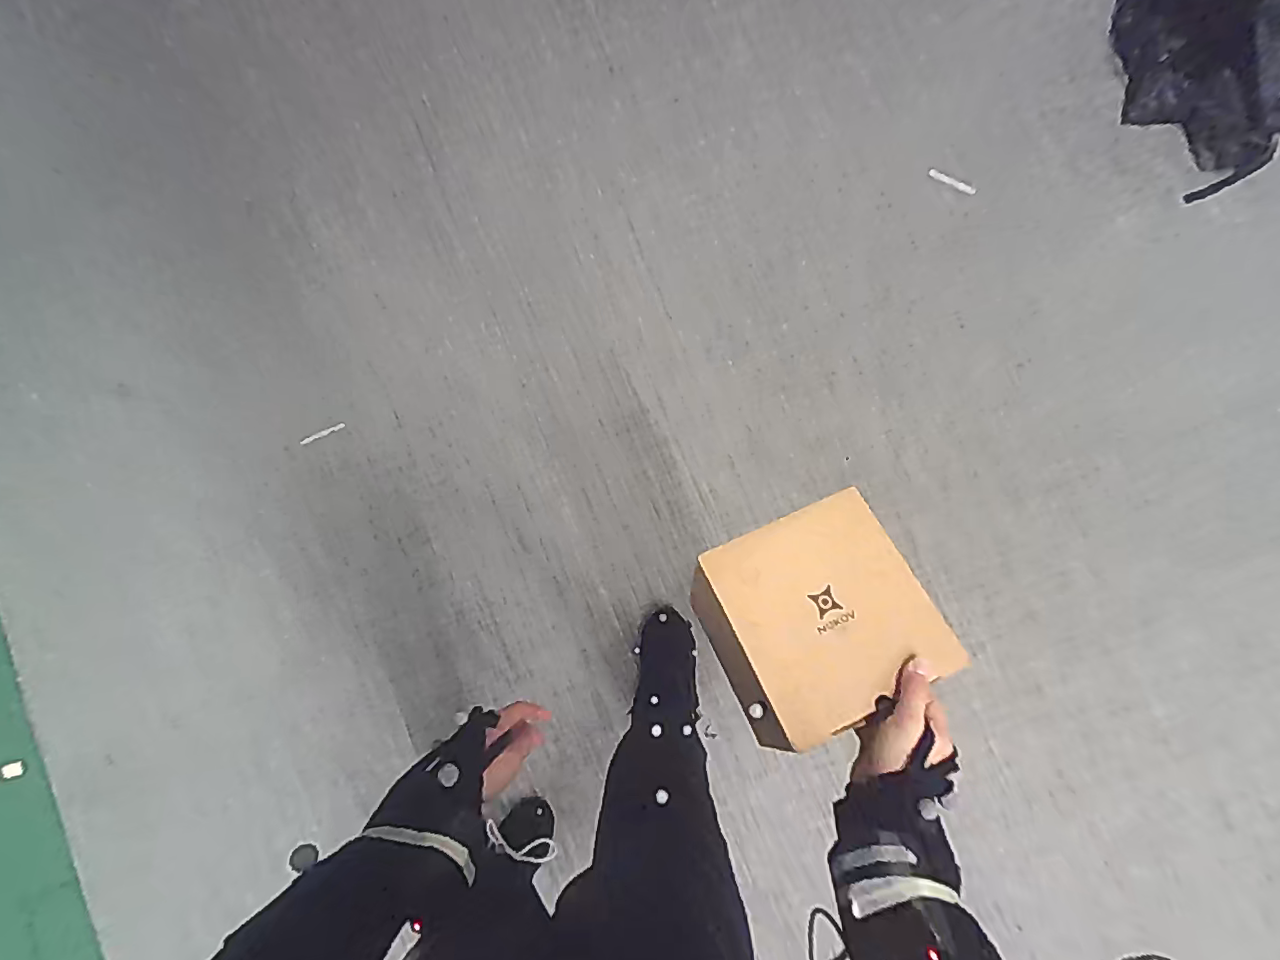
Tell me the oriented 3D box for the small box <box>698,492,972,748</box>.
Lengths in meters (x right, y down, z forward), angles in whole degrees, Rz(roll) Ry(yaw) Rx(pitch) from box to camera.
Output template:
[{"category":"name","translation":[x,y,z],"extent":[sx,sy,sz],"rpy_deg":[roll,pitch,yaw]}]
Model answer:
[{"category":"small box","translation":[0.168,0.144,0.537],"extent":[0.168,0.176,0.179],"rpy_deg":[-23,67,-8]}]
